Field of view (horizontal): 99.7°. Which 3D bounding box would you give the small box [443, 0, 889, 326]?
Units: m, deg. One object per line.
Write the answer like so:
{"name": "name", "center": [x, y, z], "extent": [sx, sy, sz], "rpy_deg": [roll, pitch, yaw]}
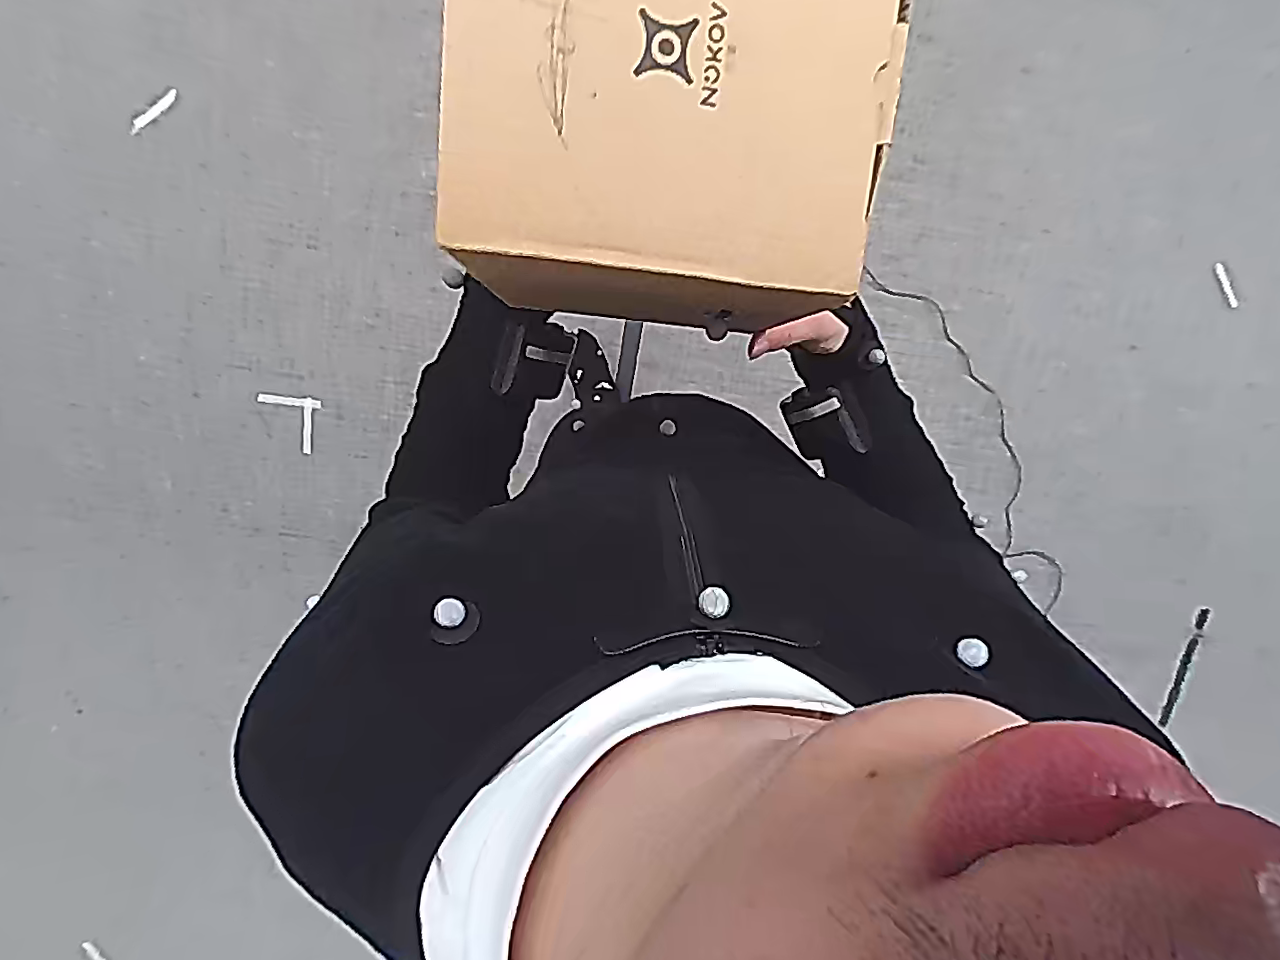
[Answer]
{"name": "small box", "center": [0.007, -0.181, 0.295], "extent": [0.179, 0.176, 0.168], "rpy_deg": [4, 99, -4]}
